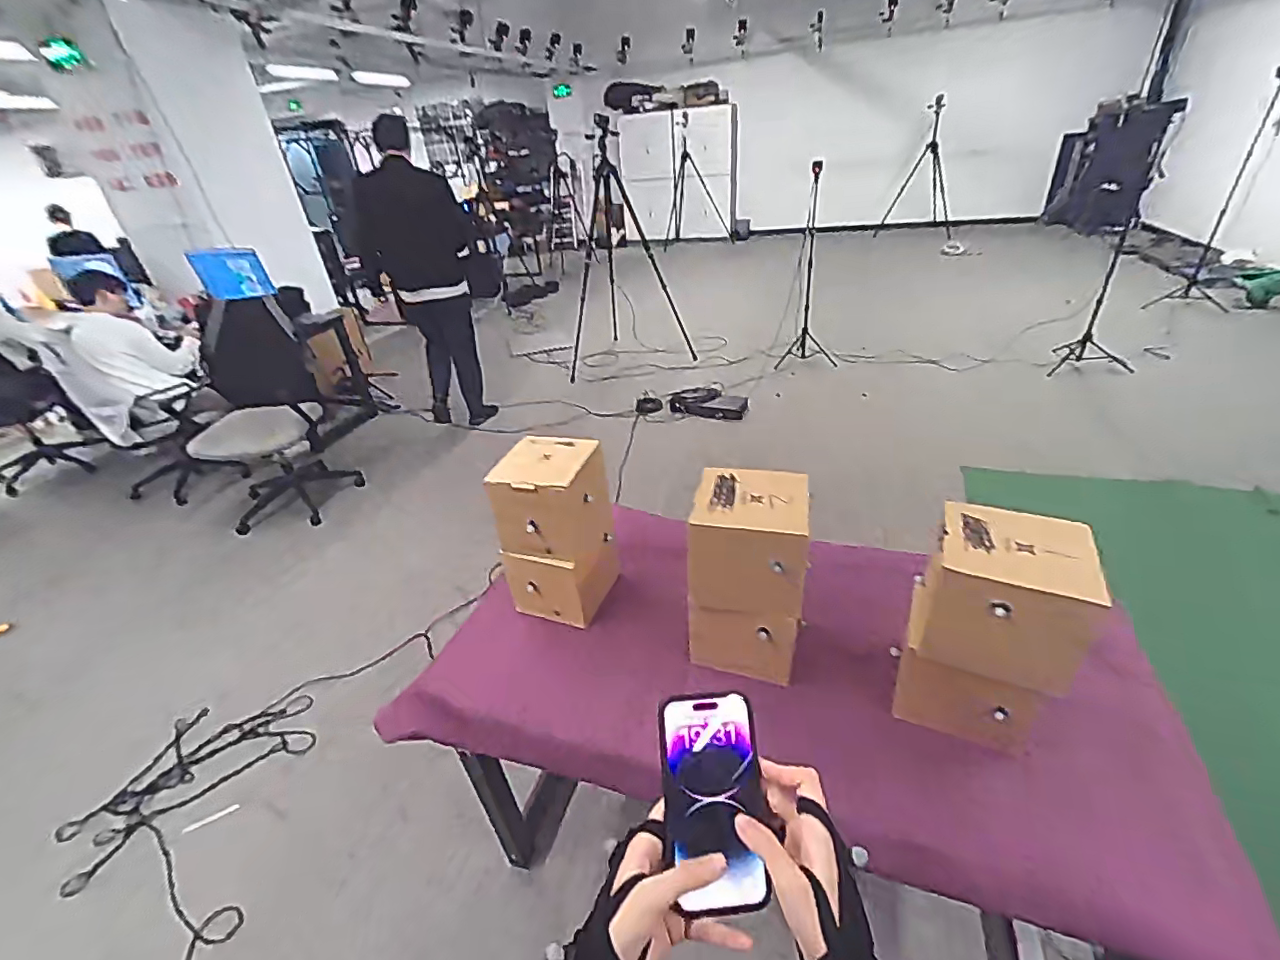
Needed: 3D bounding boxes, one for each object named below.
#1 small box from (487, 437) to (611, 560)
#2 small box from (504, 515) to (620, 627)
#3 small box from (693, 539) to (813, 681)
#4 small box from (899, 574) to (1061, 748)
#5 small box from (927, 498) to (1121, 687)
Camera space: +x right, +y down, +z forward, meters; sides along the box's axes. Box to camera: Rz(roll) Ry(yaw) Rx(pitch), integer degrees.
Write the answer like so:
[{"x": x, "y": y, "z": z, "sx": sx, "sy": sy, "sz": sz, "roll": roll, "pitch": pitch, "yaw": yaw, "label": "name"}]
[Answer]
[{"x": -0.163, "y": 0.034, "z": 1.044, "sx": 0.168, "sy": 0.176, "sz": 0.179, "roll": 5, "pitch": 34, "yaw": 17, "label": "small box"}, {"x": -0.150, "y": 0.178, "z": 1.124, "sx": 0.168, "sy": 0.176, "sz": 0.179, "roll": 7, "pitch": 34, "yaw": 21, "label": "small box"}, {"x": 0.205, "y": 0.231, "z": 0.967, "sx": 0.179, "sy": 0.176, "sz": 0.168, "roll": 7, "pitch": 34, "yaw": 21, "label": "small box"}, {"x": 0.516, "y": 0.278, "z": 0.836, "sx": 0.179, "sy": 0.176, "sz": 0.168, "roll": 10, "pitch": 35, "yaw": 27, "label": "small box"}, {"x": 0.502, "y": 0.148, "z": 0.736, "sx": 0.179, "sy": 0.176, "sz": 0.168, "roll": 11, "pitch": 35, "yaw": 25, "label": "small box"}]
